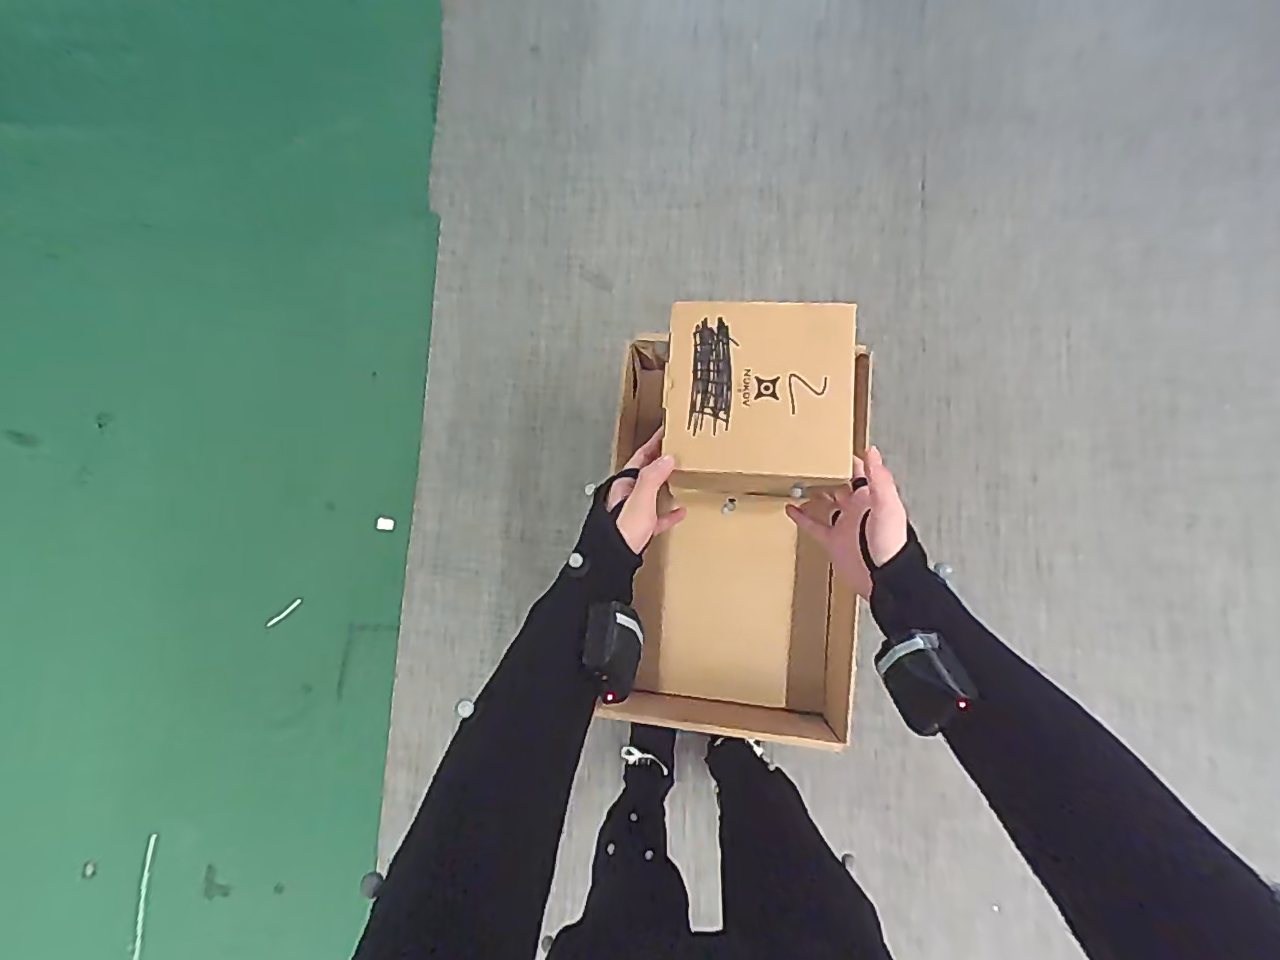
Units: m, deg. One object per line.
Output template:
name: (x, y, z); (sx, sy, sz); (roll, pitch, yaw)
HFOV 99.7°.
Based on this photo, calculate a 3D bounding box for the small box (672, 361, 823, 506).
small box: (0.140, -0.055, 0.738); (0.179, 0.176, 0.168); (3, 84, 8)
